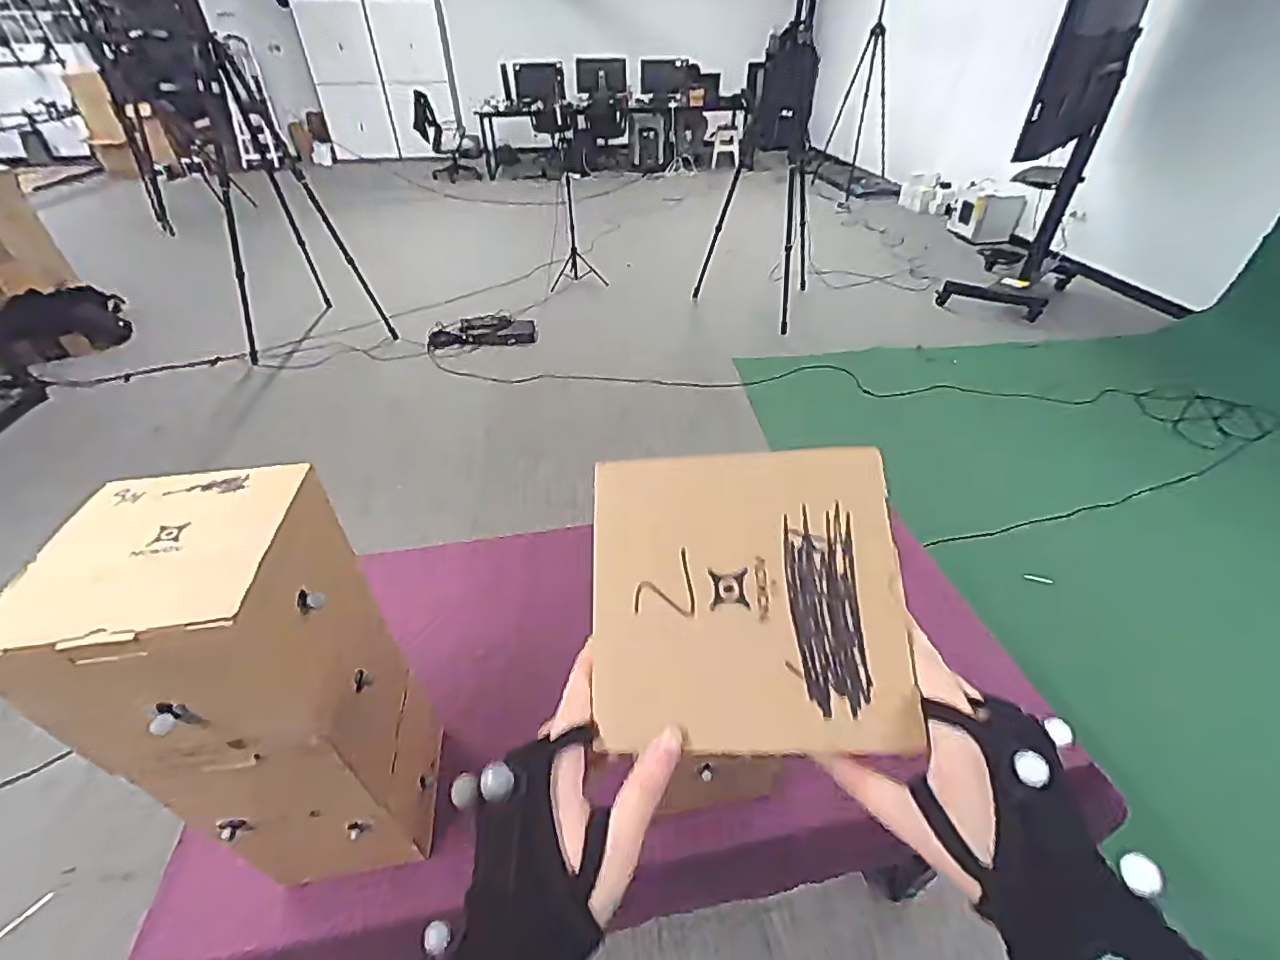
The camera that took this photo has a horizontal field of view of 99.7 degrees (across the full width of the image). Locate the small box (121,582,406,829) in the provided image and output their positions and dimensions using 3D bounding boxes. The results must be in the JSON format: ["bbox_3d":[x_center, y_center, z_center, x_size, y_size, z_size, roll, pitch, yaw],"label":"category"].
[{"bbox_3d":[-0.360,0.237,0.566,0.168,0.176,0.179,-6,38,-8],"label":"small box"}]

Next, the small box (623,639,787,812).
[{"bbox_3d":[0.075,0.316,0.719,0.179,0.176,0.168,-6,41,-6],"label":"small box"}]

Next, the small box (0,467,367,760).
[{"bbox_3d":[-0.353,0.113,0.456,0.168,0.176,0.179,-5,40,-8],"label":"small box"}]

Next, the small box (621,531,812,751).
[{"bbox_3d":[0.073,0.186,0.620,0.168,0.176,0.179,-7,39,-8],"label":"small box"}]

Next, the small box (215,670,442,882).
[{"bbox_3d":[-0.360,0.364,0.668,0.179,0.176,0.168,-6,40,-8],"label":"small box"}]
